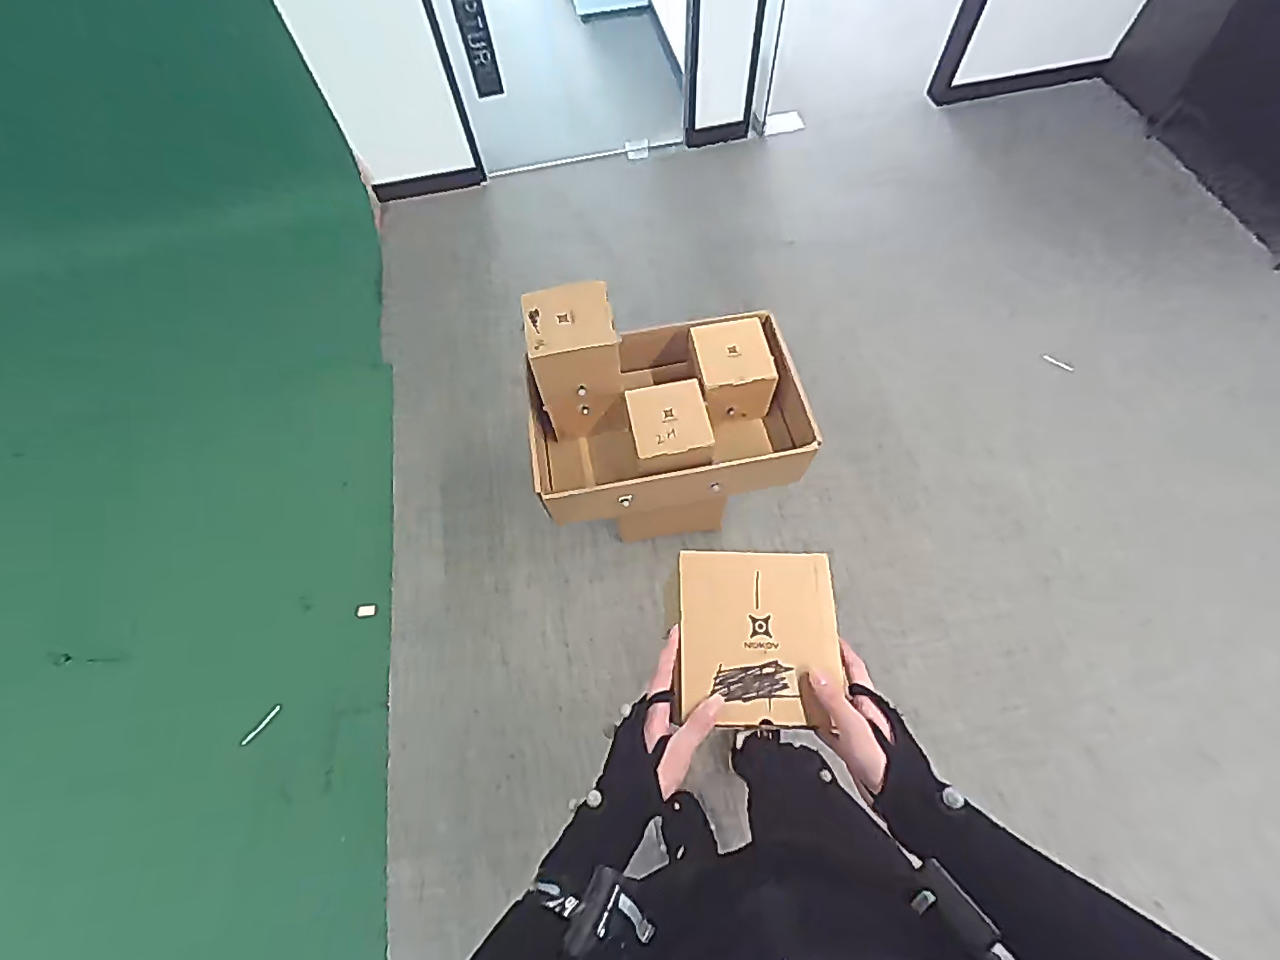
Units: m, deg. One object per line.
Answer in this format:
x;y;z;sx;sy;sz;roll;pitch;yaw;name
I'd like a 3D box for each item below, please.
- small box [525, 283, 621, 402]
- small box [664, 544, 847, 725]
-0.135;-0.284;1.140;0.179;0.176;0.168;-10;64;-3;small box
0.119;0.183;0.626;0.168;0.176;0.179;2;67;-3;small box
